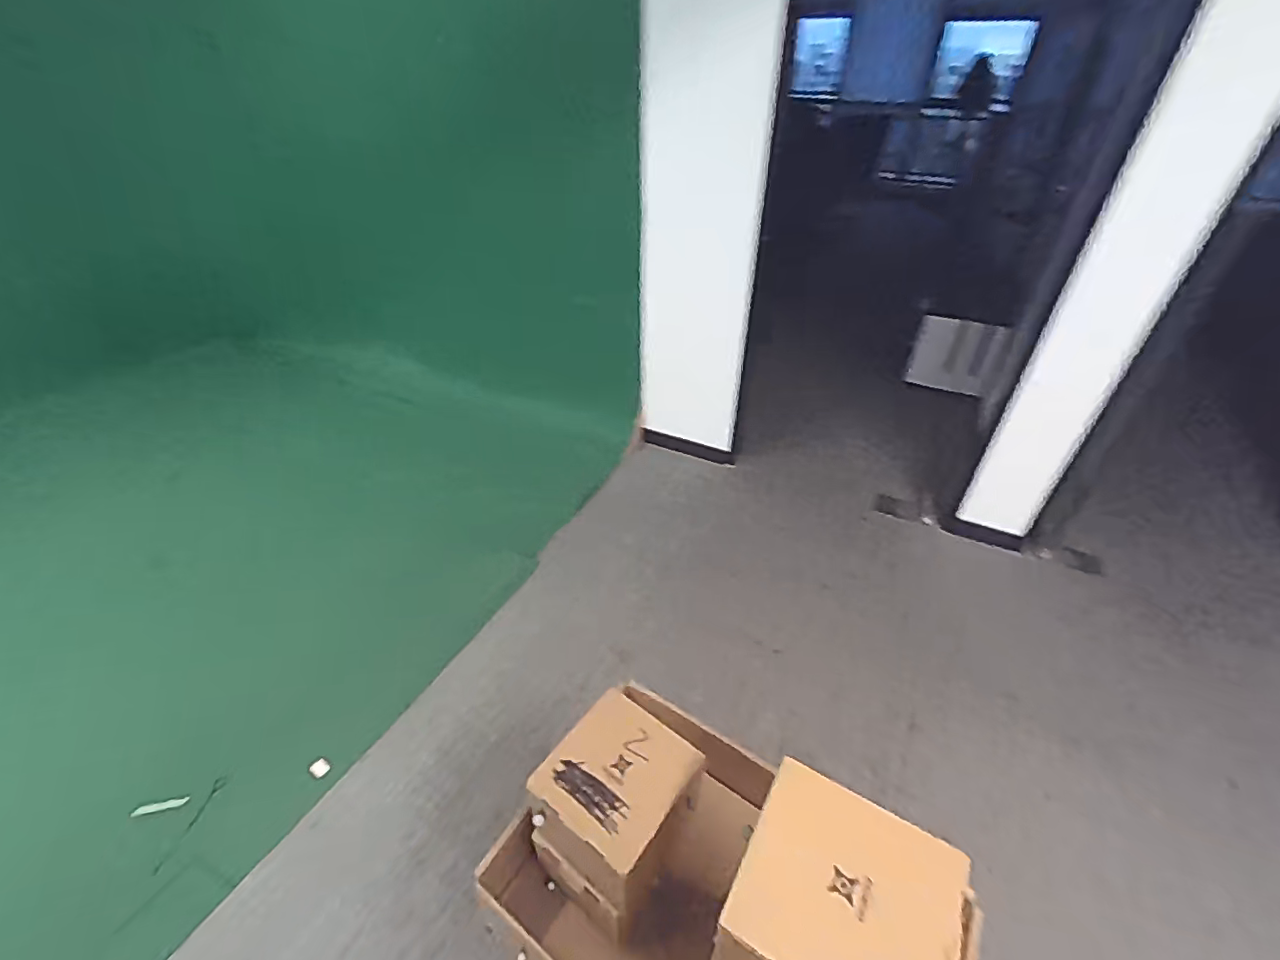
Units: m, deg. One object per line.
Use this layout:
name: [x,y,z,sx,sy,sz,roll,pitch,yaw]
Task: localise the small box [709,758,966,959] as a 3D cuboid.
small box: [0.179,0.420,0.520,0.179,0.176,0.168,21,42,24]
